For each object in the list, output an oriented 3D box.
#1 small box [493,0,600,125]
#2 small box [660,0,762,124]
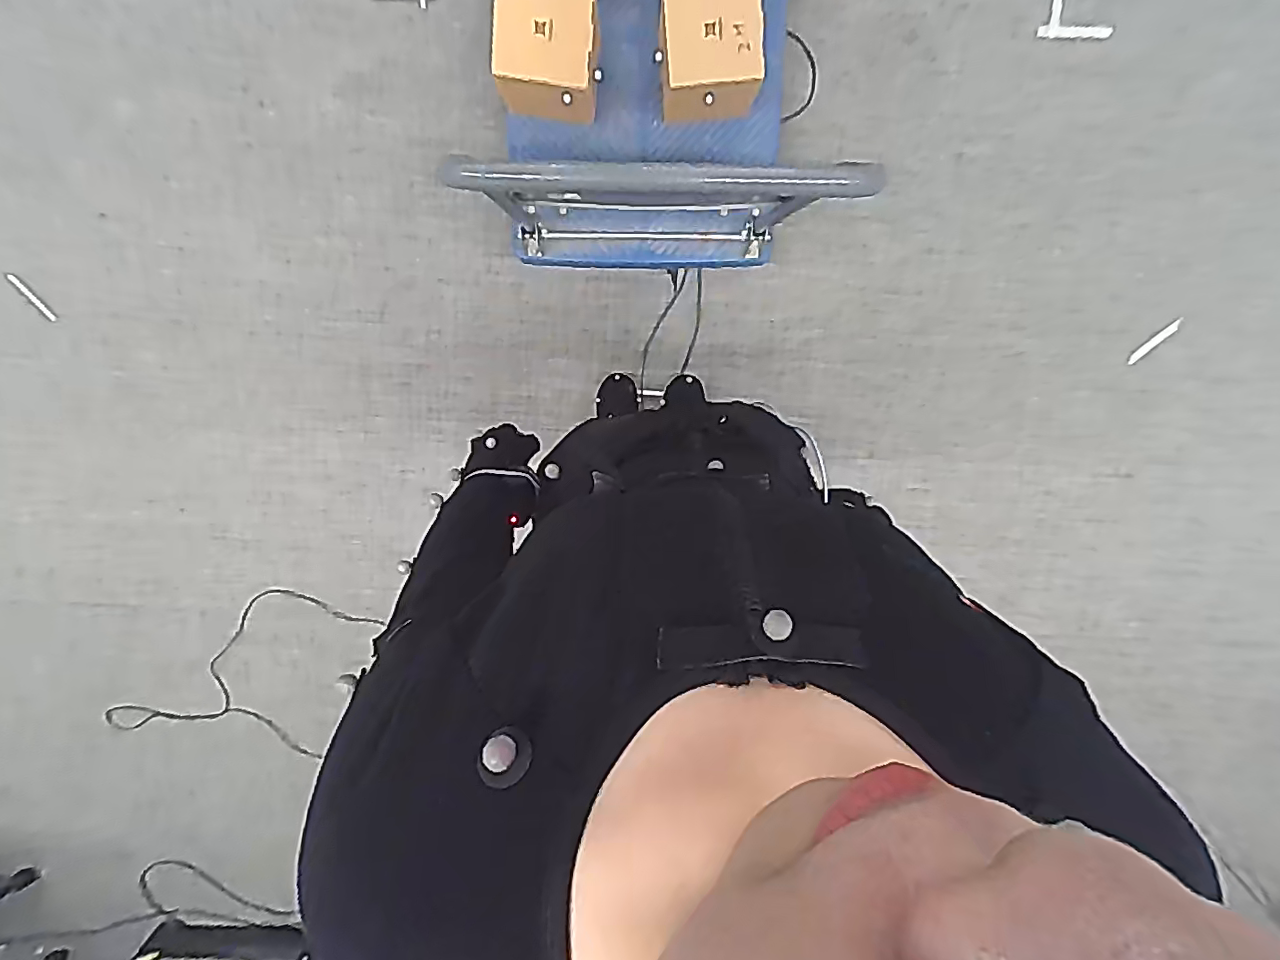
[{"bbox_3d":[-0.174,-0.813,1.042,0.179,0.176,0.168,5,103,-4],"label":"small box"},{"bbox_3d":[0.130,-0.814,1.046,0.179,0.176,0.168,-5,104,0],"label":"small box"}]
